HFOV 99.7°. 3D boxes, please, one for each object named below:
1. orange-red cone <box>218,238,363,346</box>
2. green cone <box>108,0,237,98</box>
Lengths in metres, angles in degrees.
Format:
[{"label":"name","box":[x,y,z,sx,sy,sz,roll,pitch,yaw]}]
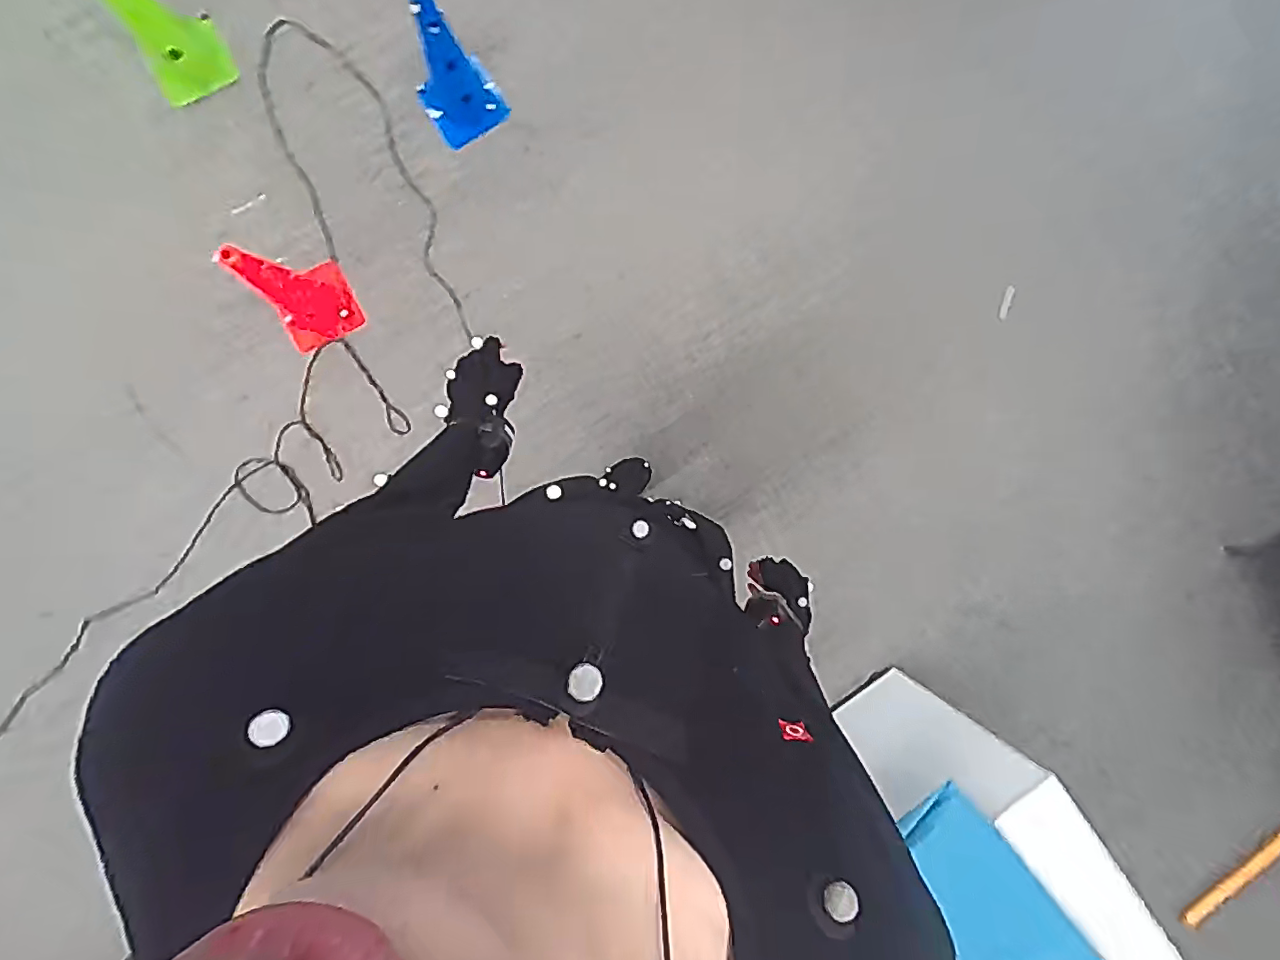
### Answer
[{"label":"orange-red cone","box":[-0.865,-0.484,1.293,0.198,0.360,0.199,-26,90,-3]},{"label":"green cone","box":[-1.196,-1.136,1.266,0.200,0.368,0.202,-28,93,-1]}]
